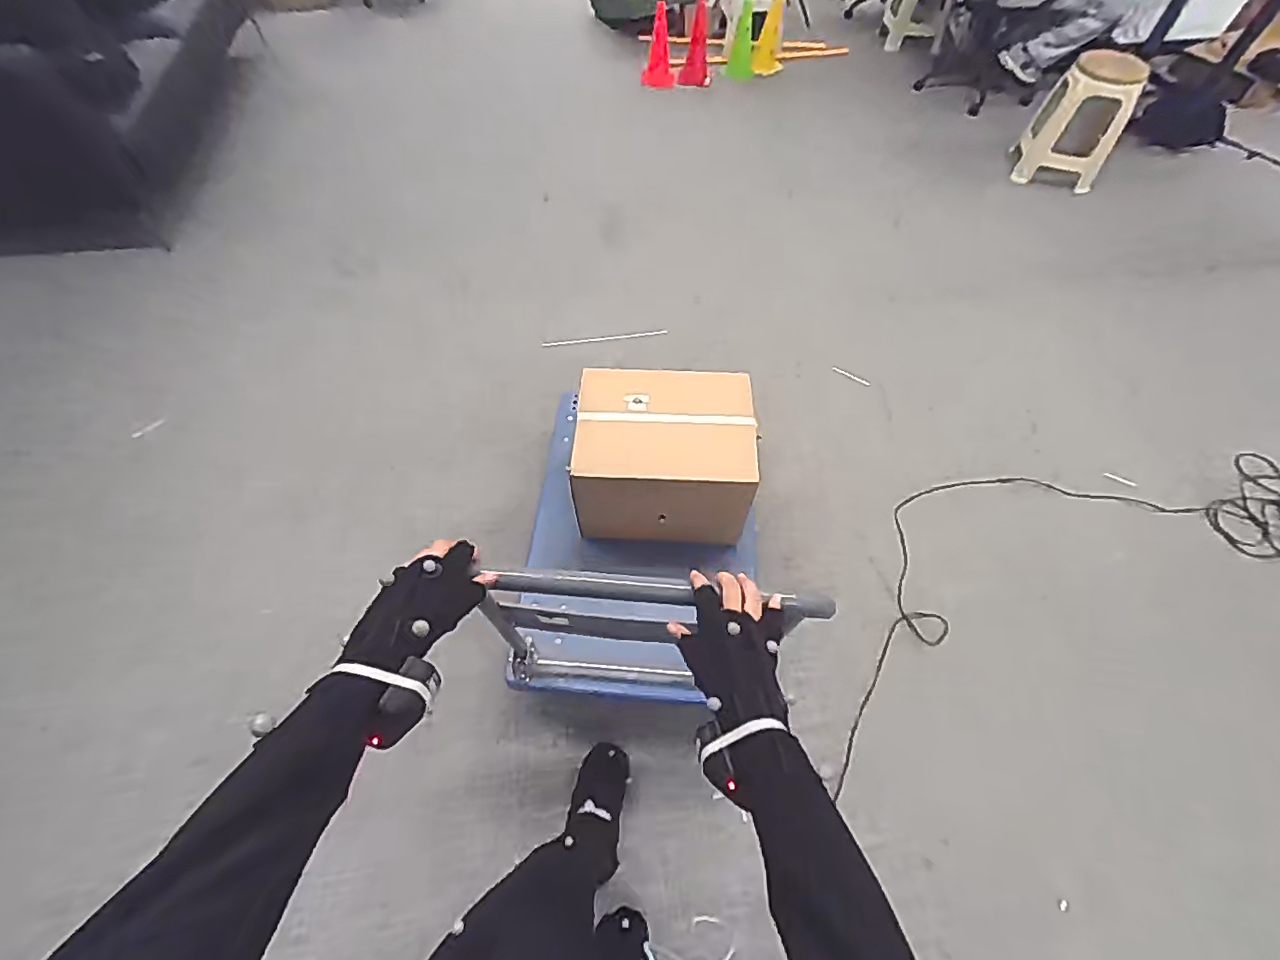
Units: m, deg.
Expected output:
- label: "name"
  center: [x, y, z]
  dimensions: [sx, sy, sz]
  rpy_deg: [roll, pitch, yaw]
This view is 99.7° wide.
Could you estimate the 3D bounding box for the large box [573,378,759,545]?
- label: "large box"
  center: [0.060, -0.037, 1.354]
  dimensions: [0.408, 0.320, 0.320]
  rpy_deg: [1, 57, 1]
